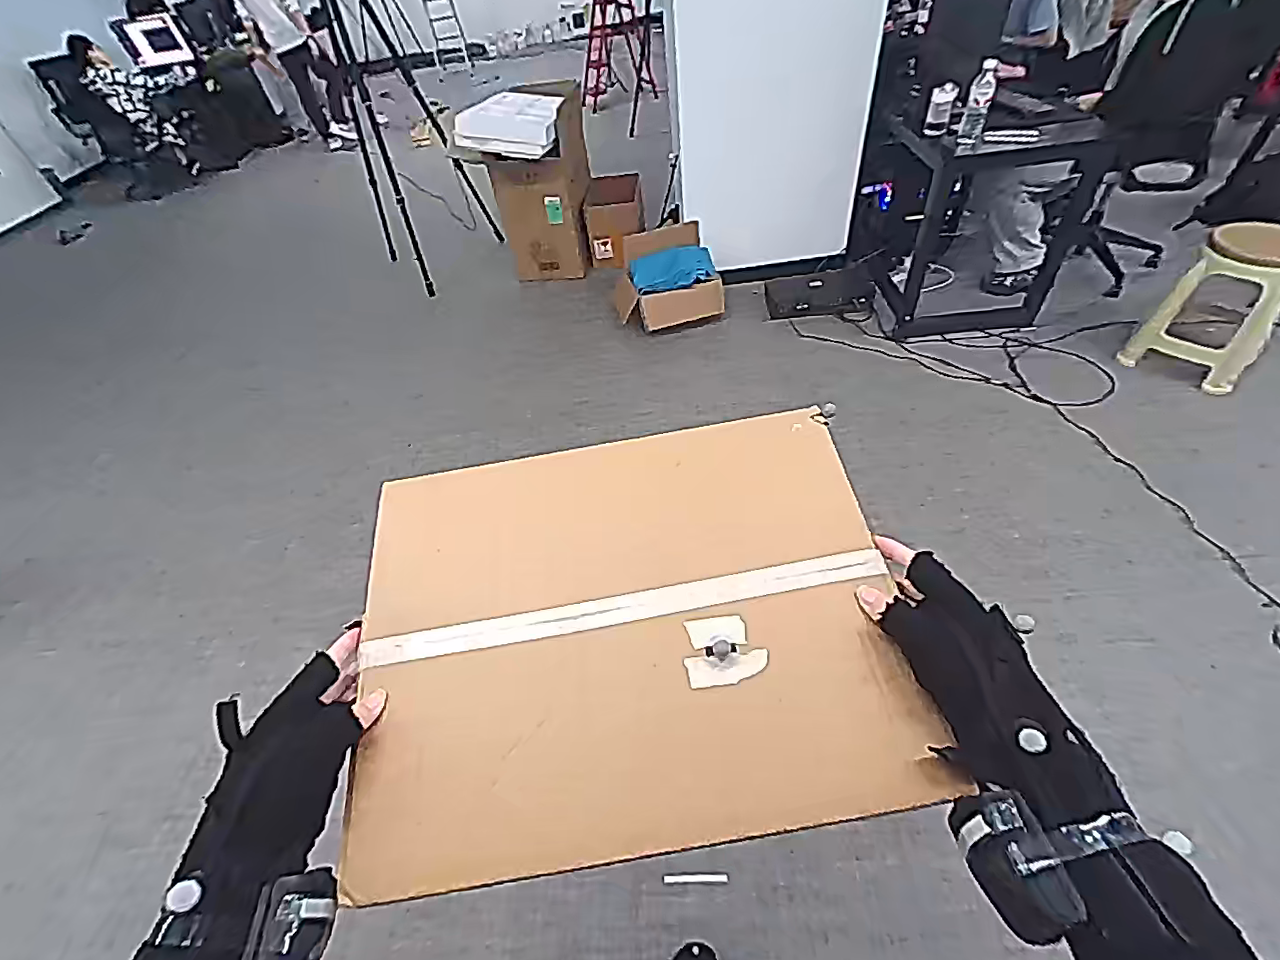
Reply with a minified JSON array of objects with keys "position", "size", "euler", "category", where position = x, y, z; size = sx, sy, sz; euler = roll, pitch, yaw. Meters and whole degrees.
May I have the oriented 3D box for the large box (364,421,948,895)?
[{"position":[0.000,0.184,0.559],"size":[0.408,0.320,0.320],"euler":[-10,59,0],"category":"large box"}]
